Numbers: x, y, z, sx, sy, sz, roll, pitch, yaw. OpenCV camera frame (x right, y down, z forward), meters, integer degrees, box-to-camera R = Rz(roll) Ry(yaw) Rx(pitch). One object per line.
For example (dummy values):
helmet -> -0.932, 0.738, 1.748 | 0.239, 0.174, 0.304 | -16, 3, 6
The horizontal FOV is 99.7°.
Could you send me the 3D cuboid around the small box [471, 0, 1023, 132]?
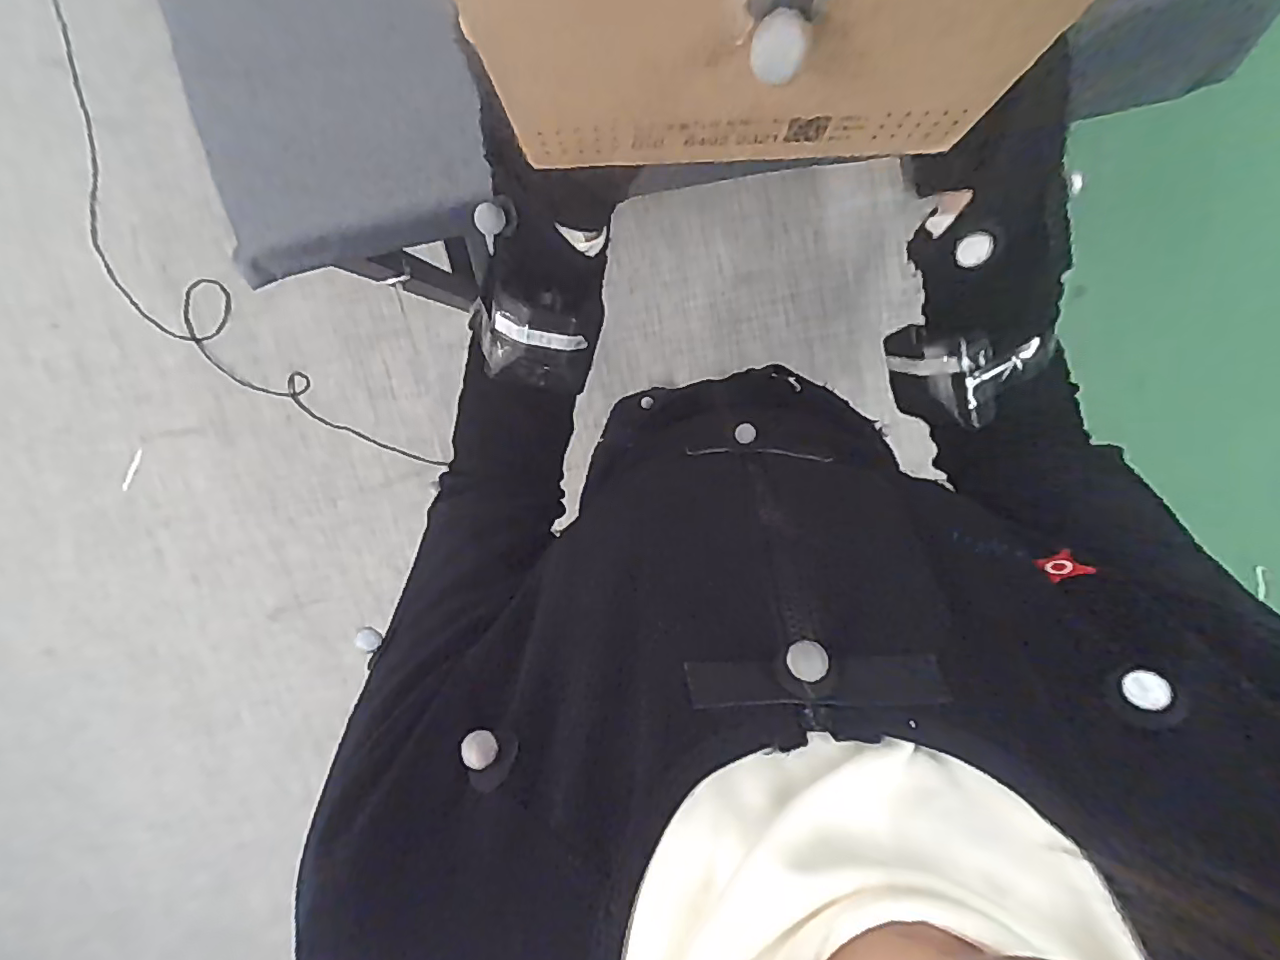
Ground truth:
small box -> 0.031, -0.212, 0.131 | 0.168, 0.176, 0.179 | -1, 94, 2
